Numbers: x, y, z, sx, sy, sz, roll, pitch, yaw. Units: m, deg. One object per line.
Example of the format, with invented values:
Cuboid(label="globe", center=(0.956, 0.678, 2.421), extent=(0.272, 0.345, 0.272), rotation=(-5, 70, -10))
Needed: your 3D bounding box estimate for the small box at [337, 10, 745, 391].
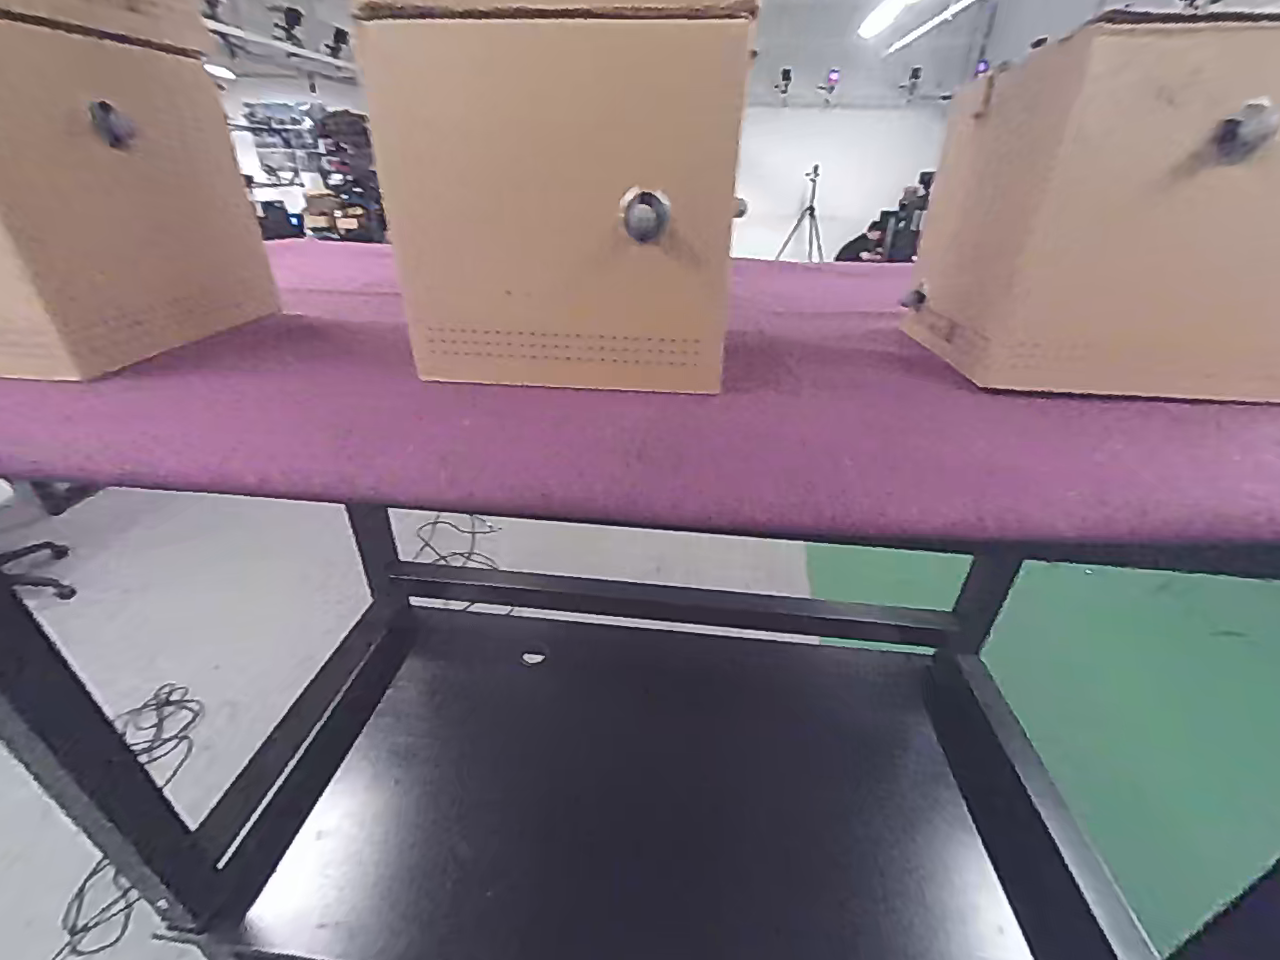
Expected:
Cuboid(label="small box", center=(-0.038, -0.160, 0.333), extent=(0.179, 0.176, 0.168), rotation=(2, 30, 4))

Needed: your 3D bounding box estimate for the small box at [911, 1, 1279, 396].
Cuboid(label="small box", center=(0.285, -0.156, 0.328), extent=(0.179, 0.176, 0.168), rotation=(4, 28, 6))

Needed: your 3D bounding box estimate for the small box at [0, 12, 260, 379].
Cuboid(label="small box", center=(-0.381, -0.169, 0.330), extent=(0.168, 0.176, 0.179), rotation=(4, 31, 2))

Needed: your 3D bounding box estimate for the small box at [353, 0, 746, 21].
Cuboid(label="small box", center=(-0.038, -0.303, 0.254), extent=(0.179, 0.176, 0.168), rotation=(2, 30, 2))
